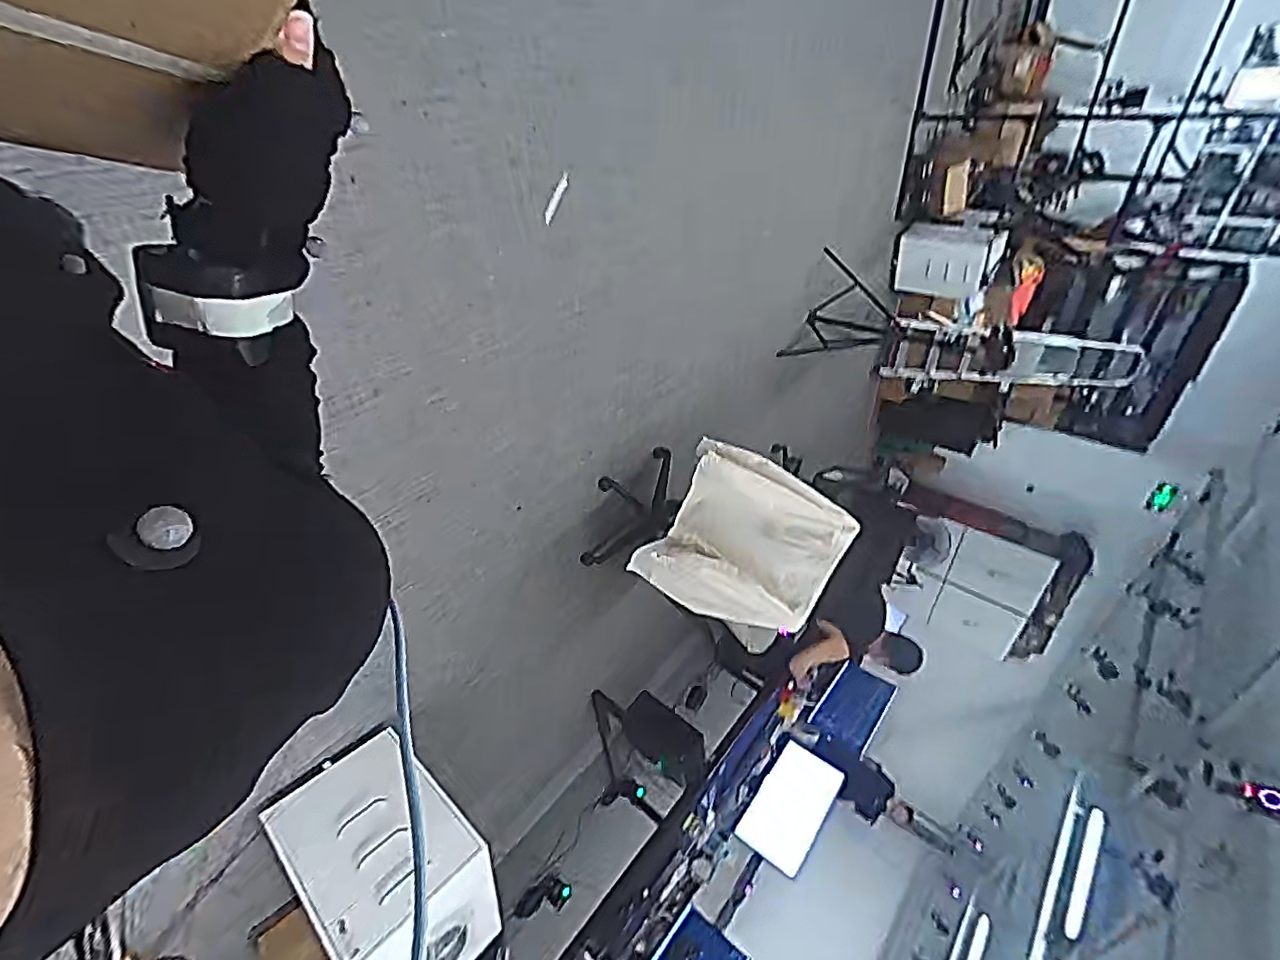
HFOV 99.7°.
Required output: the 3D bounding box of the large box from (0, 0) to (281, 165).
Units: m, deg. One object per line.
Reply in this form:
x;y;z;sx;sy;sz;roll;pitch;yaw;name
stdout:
-0.353;-0.321;0.110;0.408;0.320;0.320;-16;106;-45;large box
